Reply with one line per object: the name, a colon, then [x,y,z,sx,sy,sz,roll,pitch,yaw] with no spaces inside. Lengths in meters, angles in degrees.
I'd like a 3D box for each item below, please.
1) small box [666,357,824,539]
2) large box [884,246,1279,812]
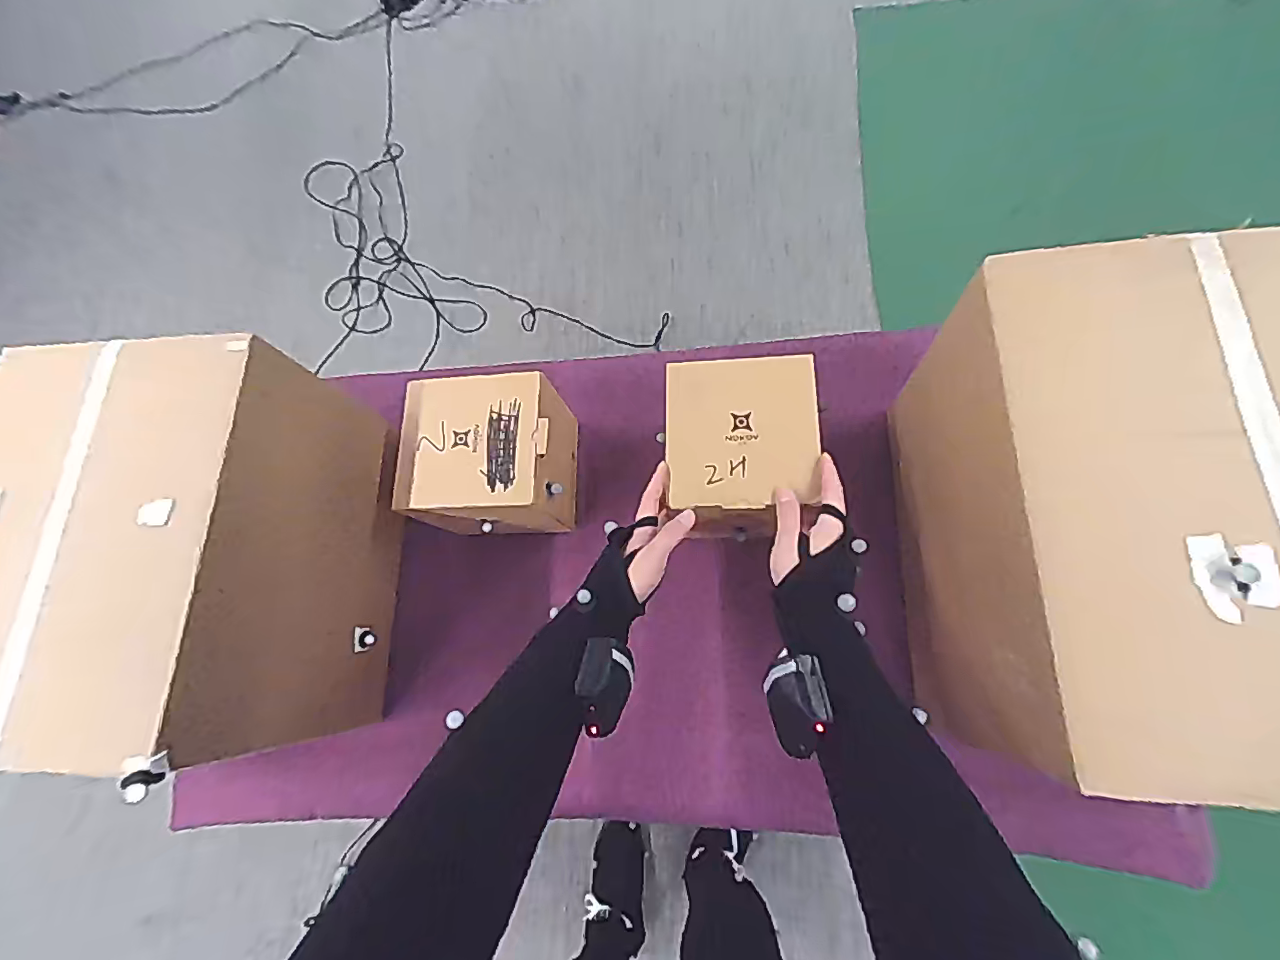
small box: [0.121,-0.031,0.662,0.168,0.176,0.179,-1,74,8]
large box: [0.452,0.049,0.514,0.320,0.320,0.408,-1,73,10]
